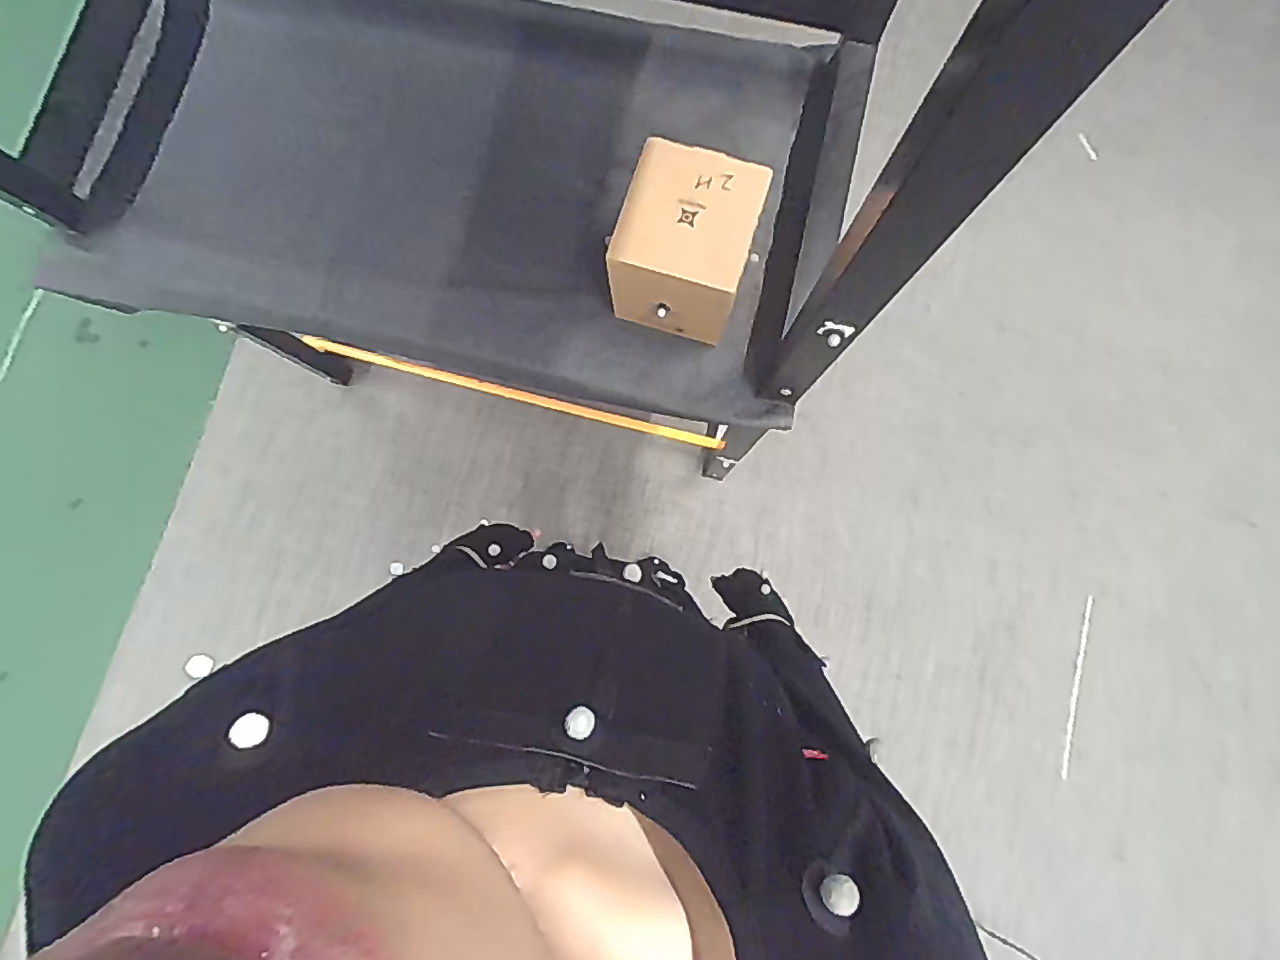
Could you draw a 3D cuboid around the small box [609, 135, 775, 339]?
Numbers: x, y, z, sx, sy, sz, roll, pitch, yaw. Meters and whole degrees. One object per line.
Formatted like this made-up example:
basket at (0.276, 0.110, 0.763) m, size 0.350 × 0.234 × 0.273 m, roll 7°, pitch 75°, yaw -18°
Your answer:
small box at (0.067, -0.319, 0.745) m, size 0.168 × 0.176 × 0.179 m, roll 18°, pitch 83°, yaw 3°
